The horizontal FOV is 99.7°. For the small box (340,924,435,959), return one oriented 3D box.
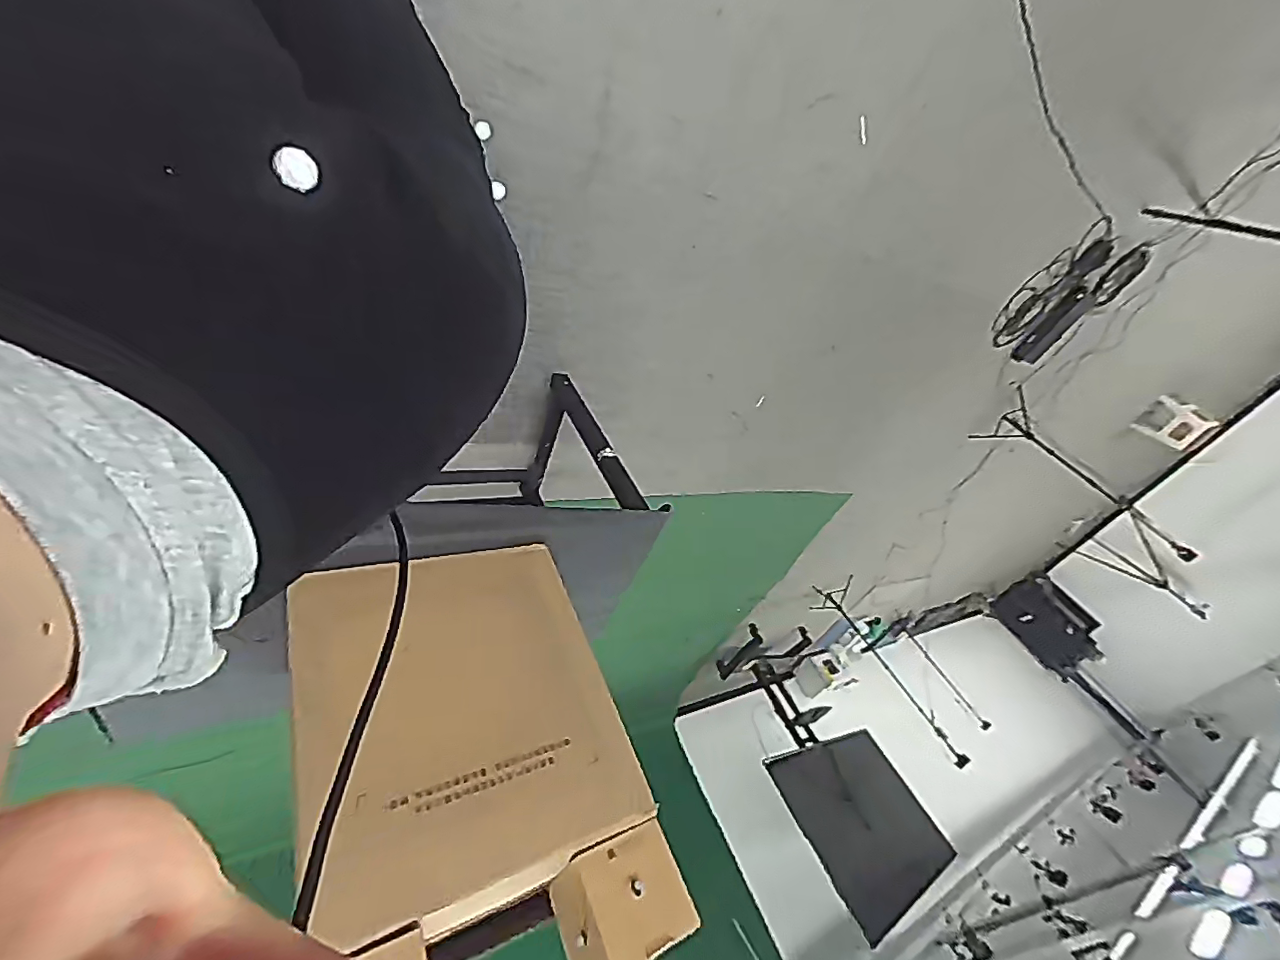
[{"bbox_3d":[-0.347,0.724,0.707,0.168,0.176,0.179,-8,139,-26],"label":"small box"}]

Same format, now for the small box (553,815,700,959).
[{"bbox_3d":[-0.032,0.712,0.929,0.168,0.176,0.179,-4,135,-35],"label":"small box"}]
